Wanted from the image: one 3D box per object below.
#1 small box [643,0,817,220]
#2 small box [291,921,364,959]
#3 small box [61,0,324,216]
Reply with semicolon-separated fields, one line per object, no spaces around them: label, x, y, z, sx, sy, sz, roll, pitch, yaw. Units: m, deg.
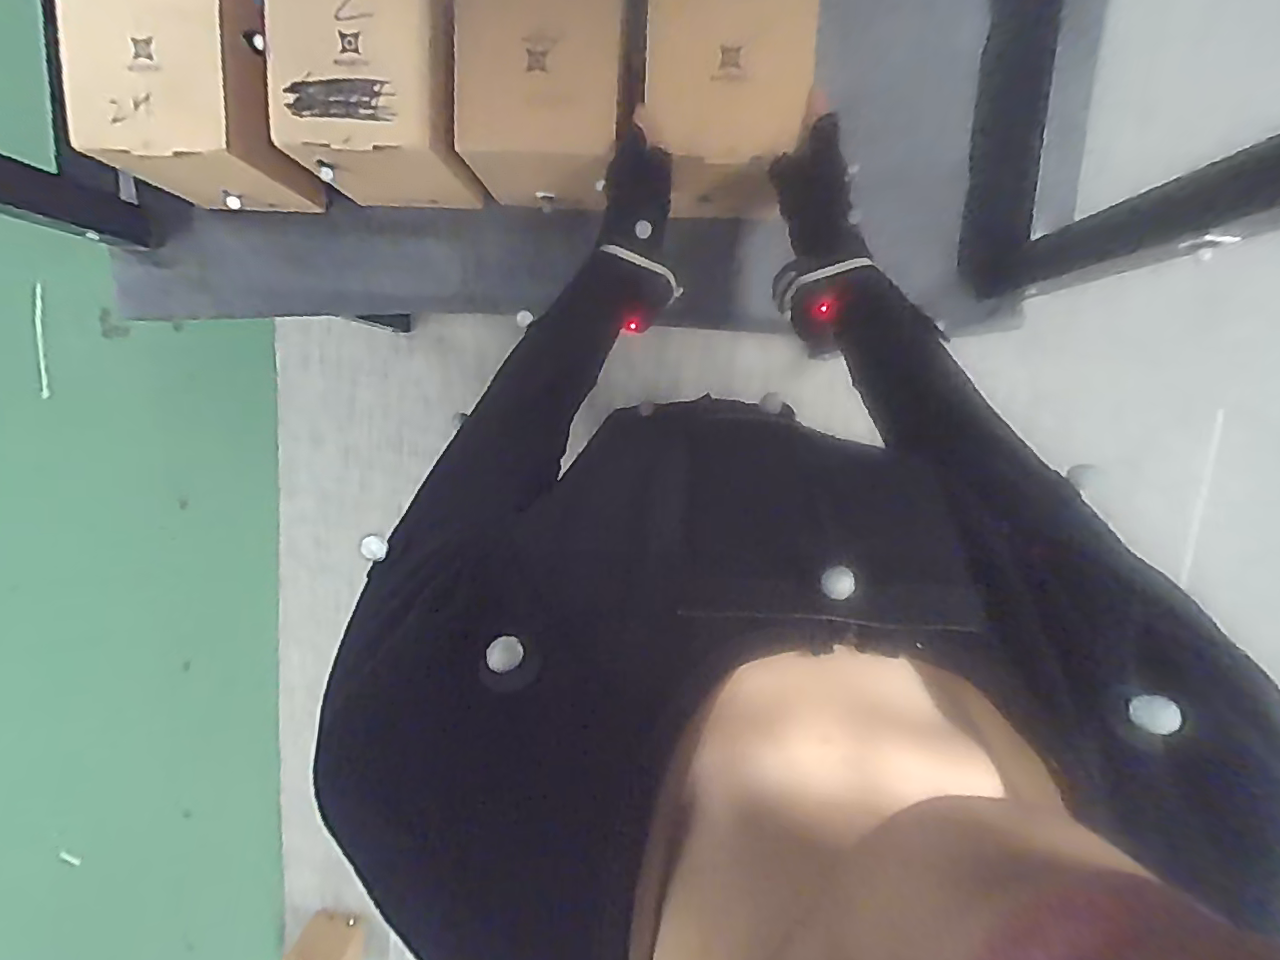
small box;0.091;-0.414;0.608;0.168;0.176;0.179;2;98;3
small box;-0.955;1.484;1.628;0.168;0.176;0.179;6;99;1
small box;-0.491;-0.427;0.619;0.168;0.176;0.179;2;97;1
